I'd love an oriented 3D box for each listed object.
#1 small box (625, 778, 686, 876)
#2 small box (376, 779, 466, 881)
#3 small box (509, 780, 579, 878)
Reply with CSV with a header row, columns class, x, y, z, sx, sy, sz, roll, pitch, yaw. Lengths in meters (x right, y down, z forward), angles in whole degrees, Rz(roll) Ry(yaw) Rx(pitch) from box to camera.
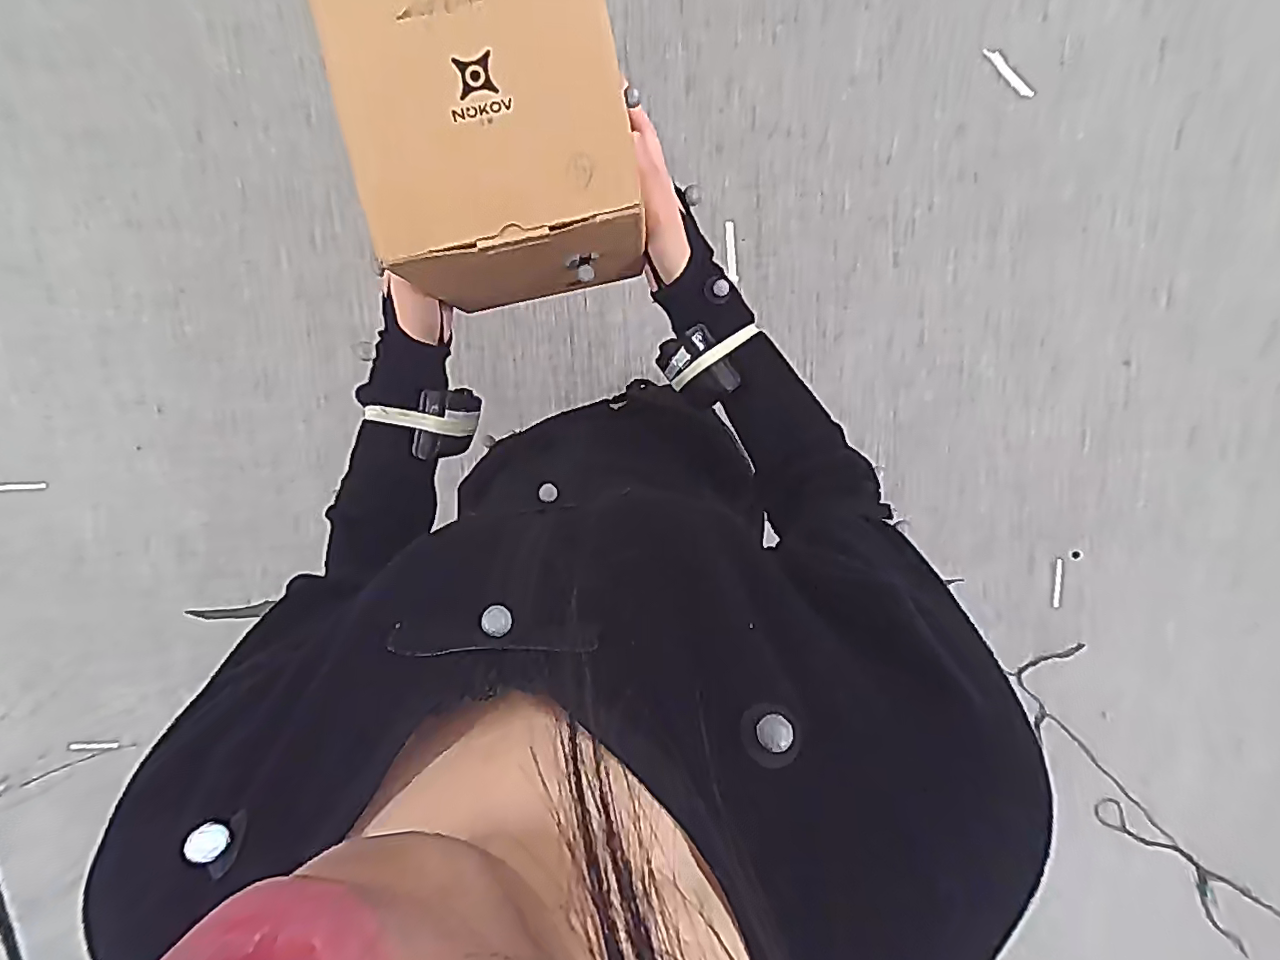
class,x,y,z,sx,sy,sz,roll,pitch,yaw
small box,0.046,0.995,1.557,0.168,0.176,0.179,-2,100,1
small box,-0.628,1.005,1.567,0.179,0.176,0.168,14,98,-3
small box,-0.271,1.002,1.561,0.168,0.176,0.179,-4,98,1
